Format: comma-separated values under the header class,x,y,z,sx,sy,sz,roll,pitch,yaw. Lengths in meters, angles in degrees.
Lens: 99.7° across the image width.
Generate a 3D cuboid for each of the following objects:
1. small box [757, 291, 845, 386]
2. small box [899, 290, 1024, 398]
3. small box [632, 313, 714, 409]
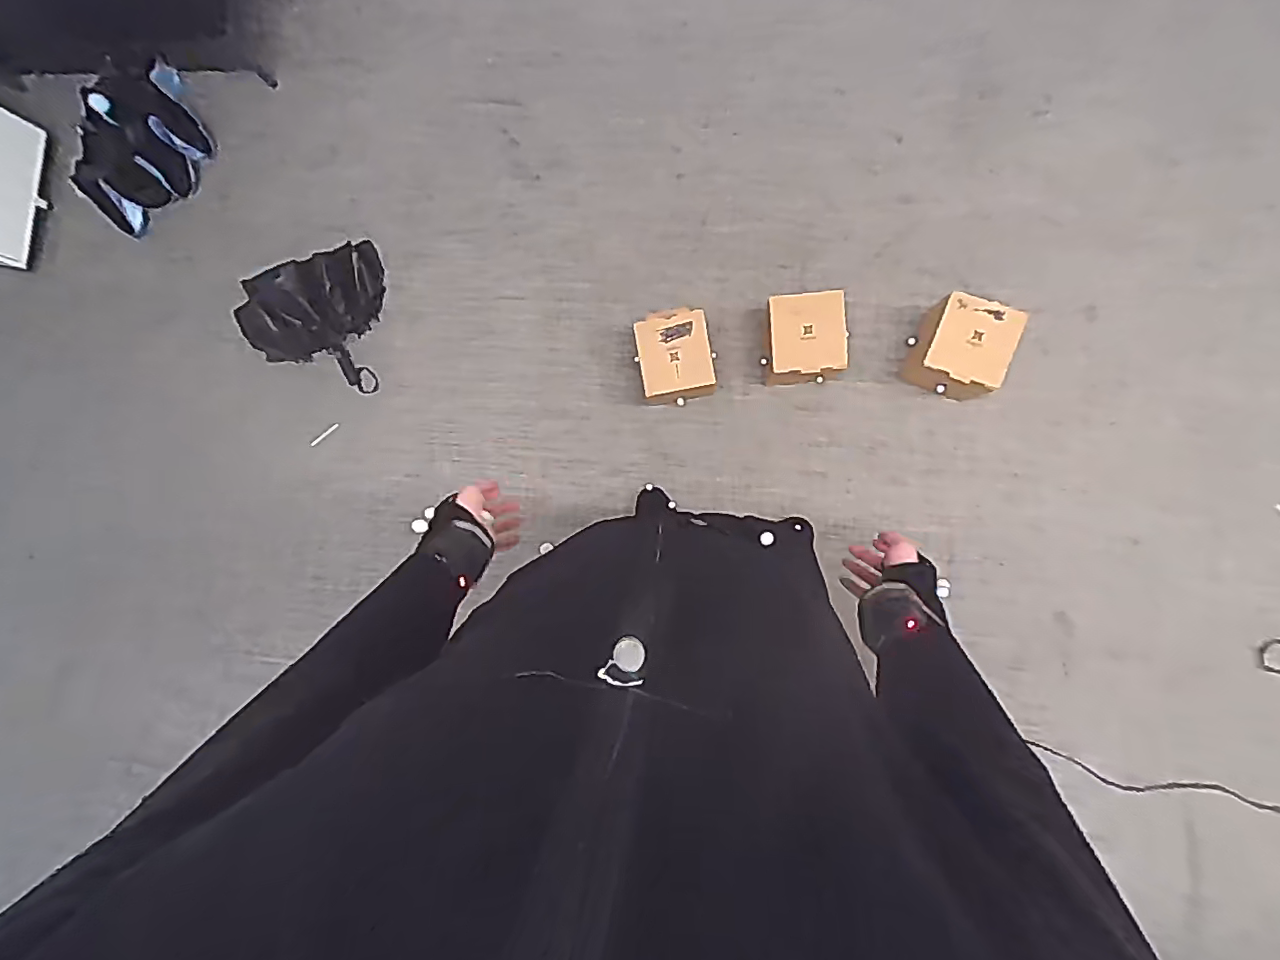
class,x,y,z,sx,sy,sz,roll,pitch,yaw
small box,0.375,-0.324,1.281,0.168,0.176,0.179,-5,88,6
small box,0.721,-0.301,1.238,0.168,0.176,0.179,21,92,7
small box,0.082,-0.280,1.310,0.168,0.176,0.179,-11,89,7
